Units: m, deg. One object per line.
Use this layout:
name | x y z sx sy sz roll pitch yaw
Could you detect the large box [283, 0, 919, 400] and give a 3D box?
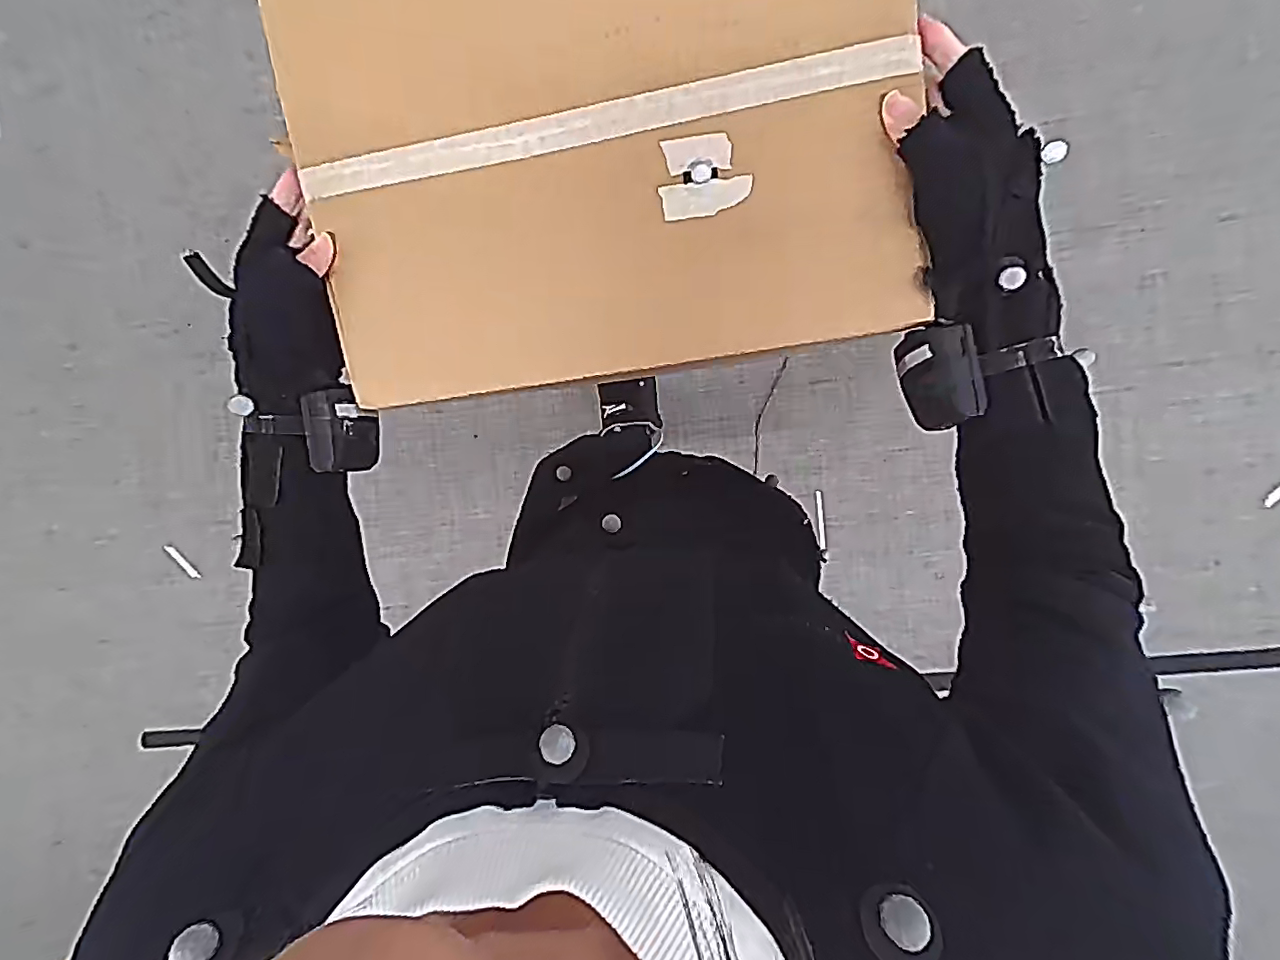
large box | -0.018 -0.264 0.509 0.408 0.320 0.320 -8 100 6
